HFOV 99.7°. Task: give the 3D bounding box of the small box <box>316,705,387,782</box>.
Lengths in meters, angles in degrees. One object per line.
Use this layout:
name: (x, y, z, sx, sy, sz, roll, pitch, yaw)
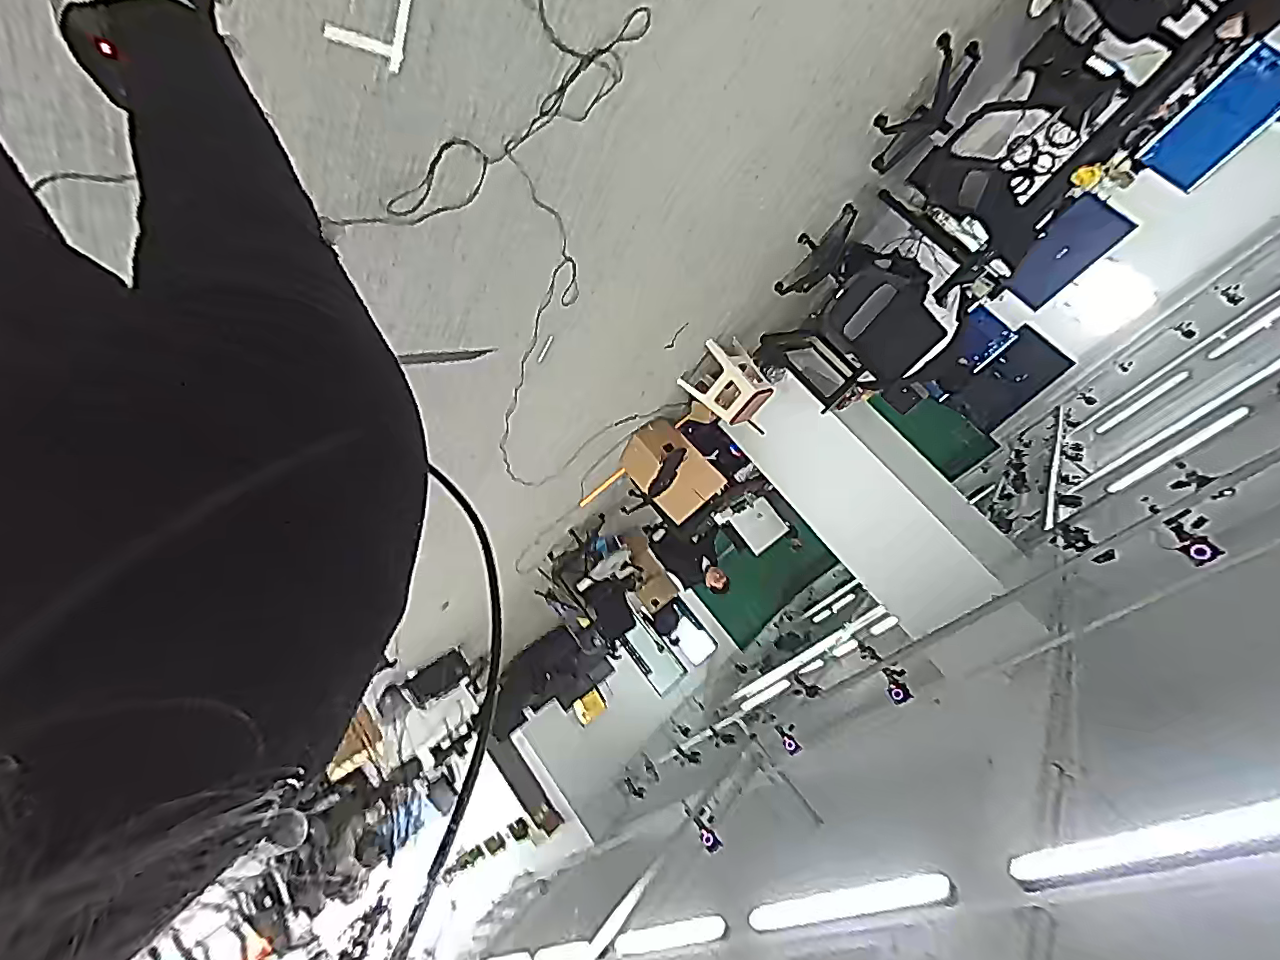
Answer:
small box: (-1.051, 0.950, 1.964, 0.168, 0.176, 0.179, -22, 158, -46)
